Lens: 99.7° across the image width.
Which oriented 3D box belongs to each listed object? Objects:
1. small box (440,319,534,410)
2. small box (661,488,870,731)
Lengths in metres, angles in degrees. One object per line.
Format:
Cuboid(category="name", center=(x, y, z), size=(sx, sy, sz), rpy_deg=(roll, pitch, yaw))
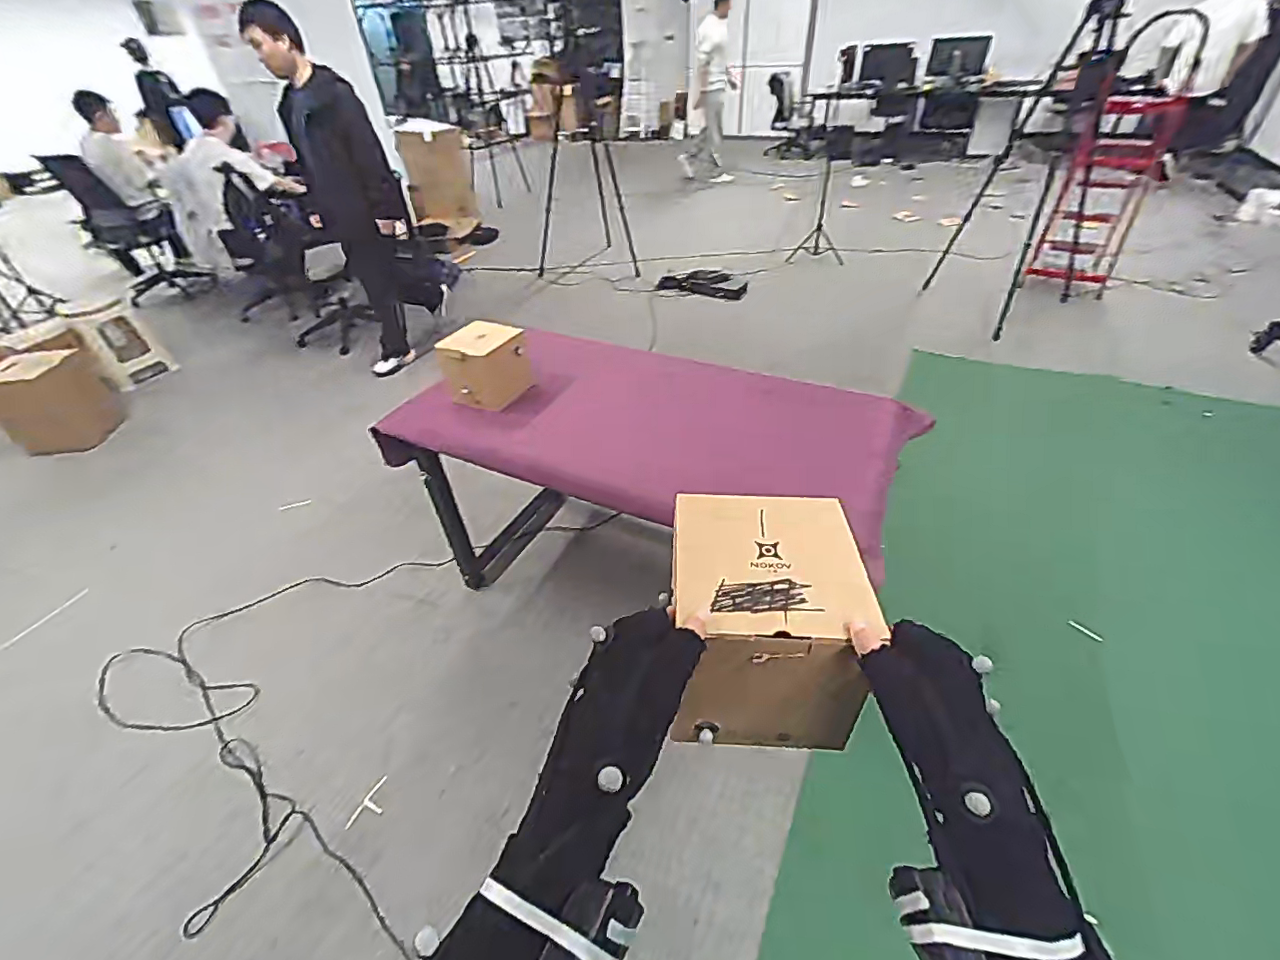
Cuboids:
Cuboid(category="small box", center=(-0.409, -0.317, 1.482), size=(0.168, 0.176, 0.179), rpy_deg=(17, 44, 23))
Cuboid(category="small box", center=(0.106, 0.126, 0.537), size=(0.168, 0.176, 0.179), rpy_deg=(1, 37, 2))
